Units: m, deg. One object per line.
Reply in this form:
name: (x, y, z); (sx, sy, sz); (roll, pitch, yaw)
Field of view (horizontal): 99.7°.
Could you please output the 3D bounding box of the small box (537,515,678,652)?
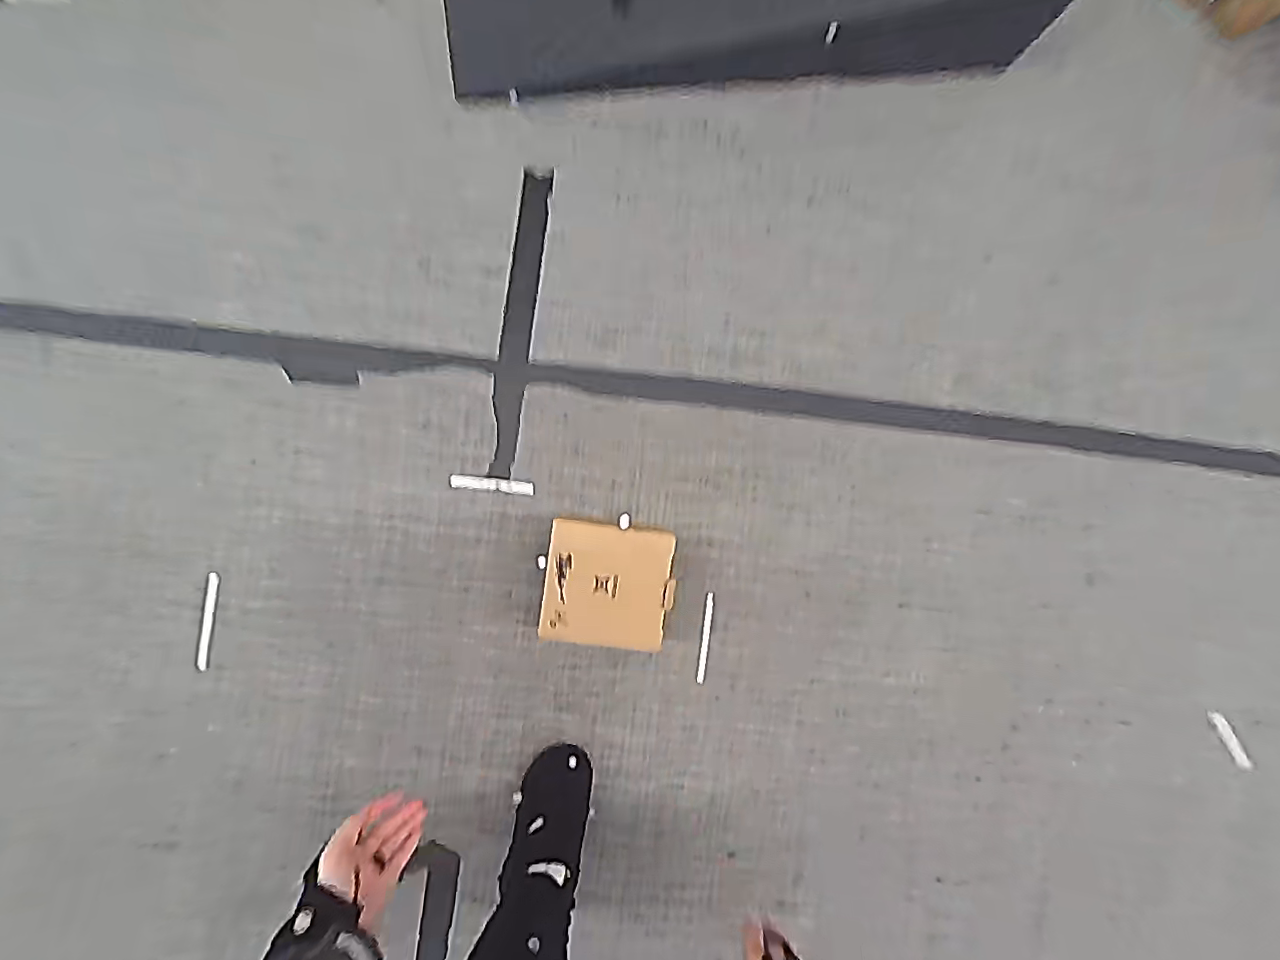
small box: (-0.052, 0.148, 0.827); (0.179, 0.176, 0.168); (9, 89, -6)
